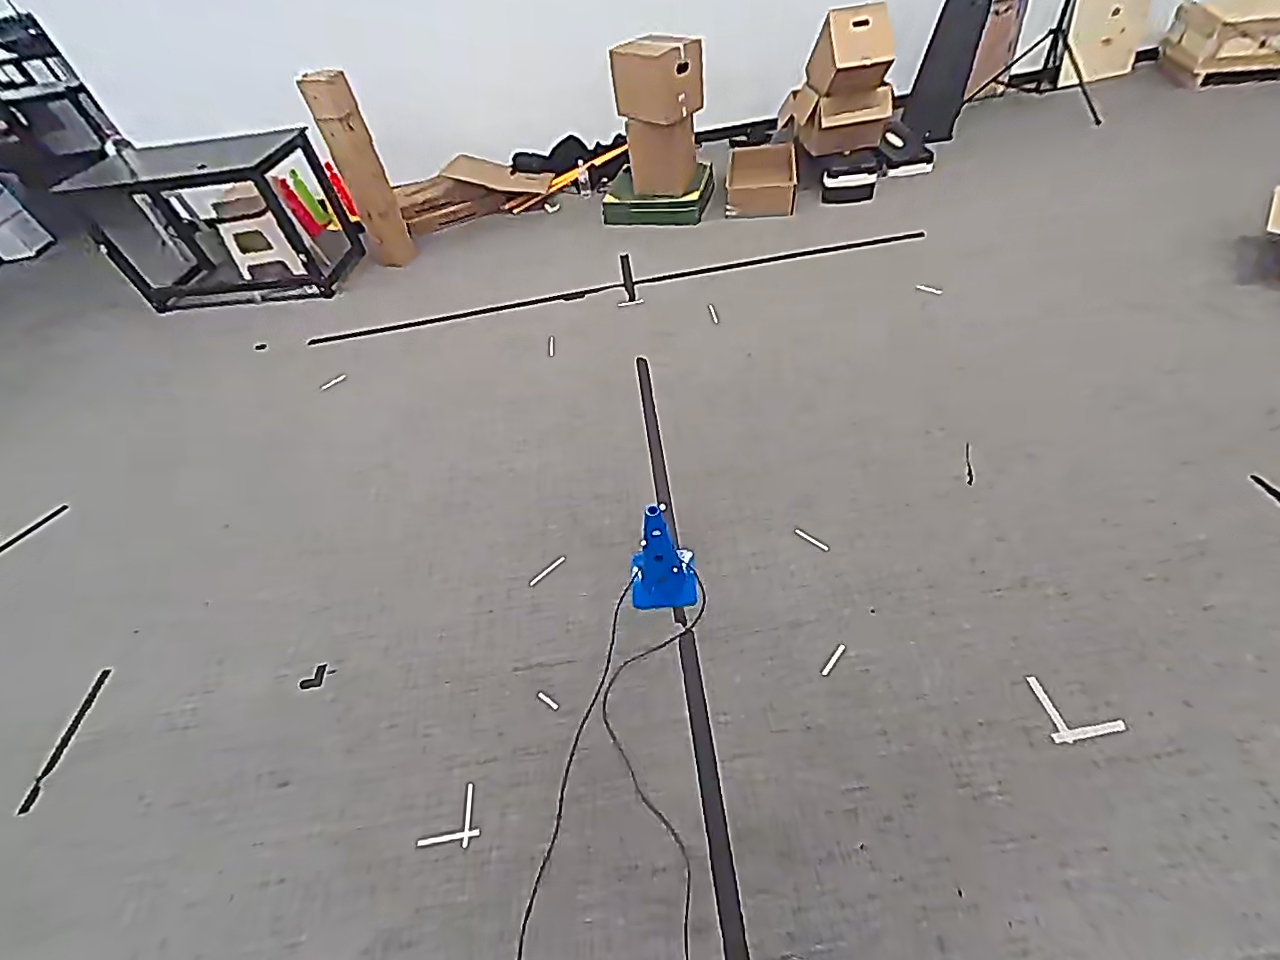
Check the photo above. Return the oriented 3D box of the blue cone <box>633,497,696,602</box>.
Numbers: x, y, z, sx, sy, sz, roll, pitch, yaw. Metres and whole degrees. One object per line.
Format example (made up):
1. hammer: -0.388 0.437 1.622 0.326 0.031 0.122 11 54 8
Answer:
1. blue cone: 0.053 0.185 1.556 0.193 0.380 0.192 -7 49 4
